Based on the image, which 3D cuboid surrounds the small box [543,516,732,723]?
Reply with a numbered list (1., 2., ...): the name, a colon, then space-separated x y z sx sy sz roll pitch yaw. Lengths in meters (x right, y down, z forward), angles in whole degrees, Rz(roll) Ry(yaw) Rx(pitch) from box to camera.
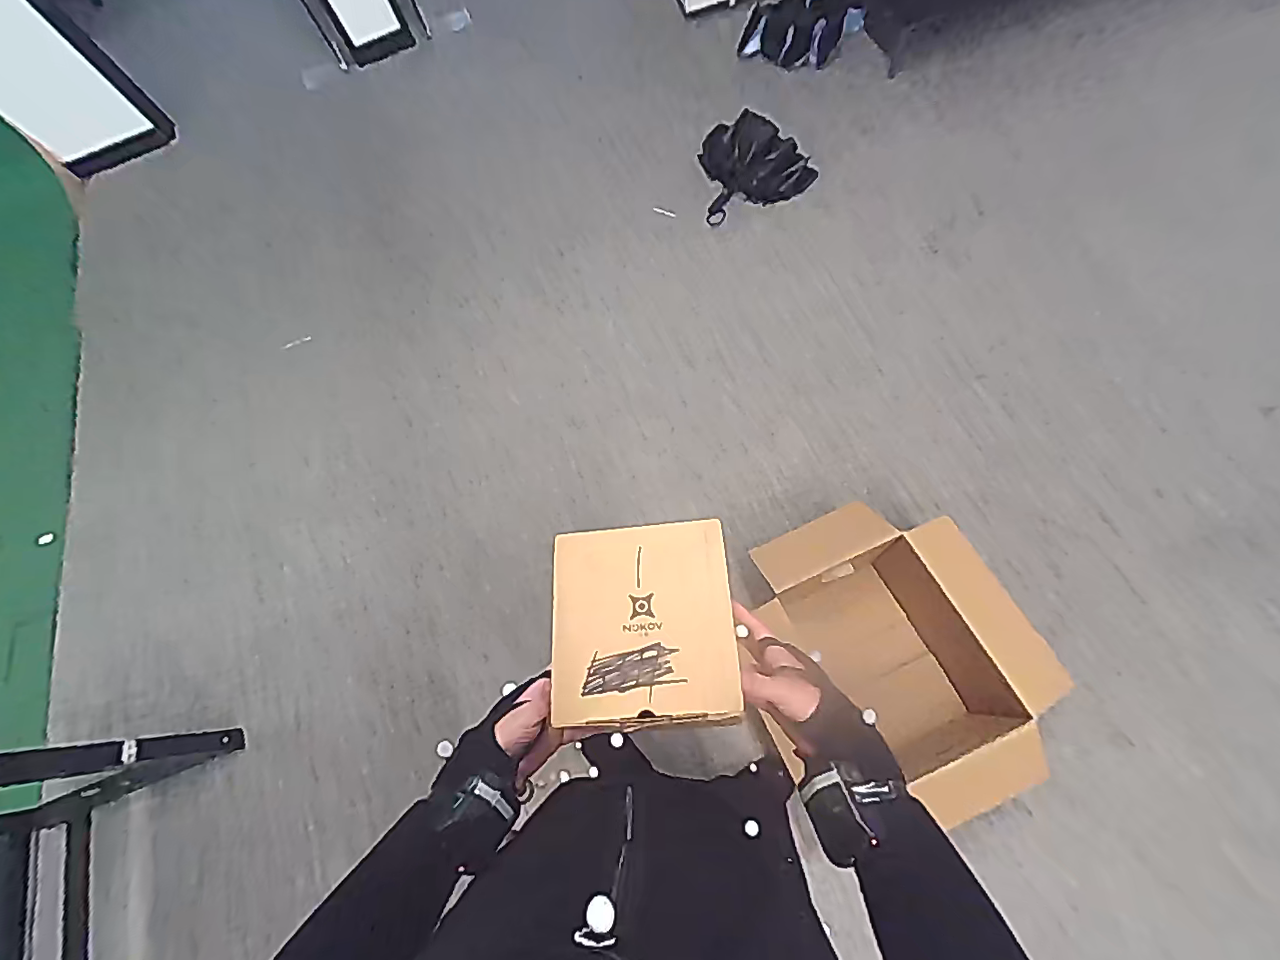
1. small box: 0.005 0.153 0.558 0.168 0.176 0.179 -6 63 6
